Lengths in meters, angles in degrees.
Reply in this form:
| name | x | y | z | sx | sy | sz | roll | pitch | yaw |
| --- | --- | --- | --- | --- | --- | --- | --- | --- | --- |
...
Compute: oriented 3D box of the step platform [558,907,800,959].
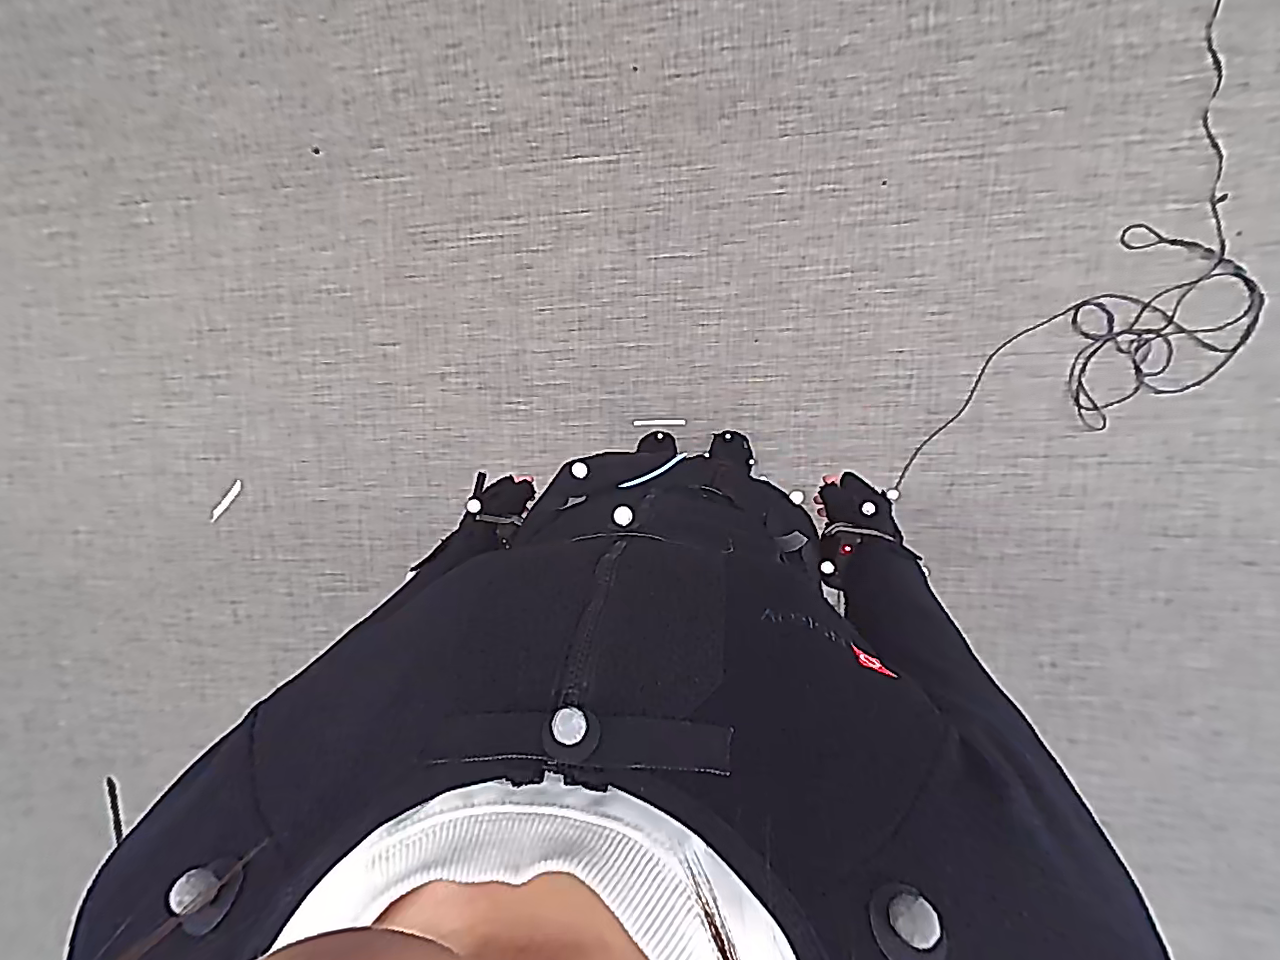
| name | x | y | z | sx | sy | sz | roll | pitch | yaw |
| --- | --- | --- | --- | --- | --- | --- | --- | --- | --- |
| step platform | 0.106 | 1.417 | 1.500 | 0.684 | 0.204 | 0.286 | -2 | 96 | 9 |
